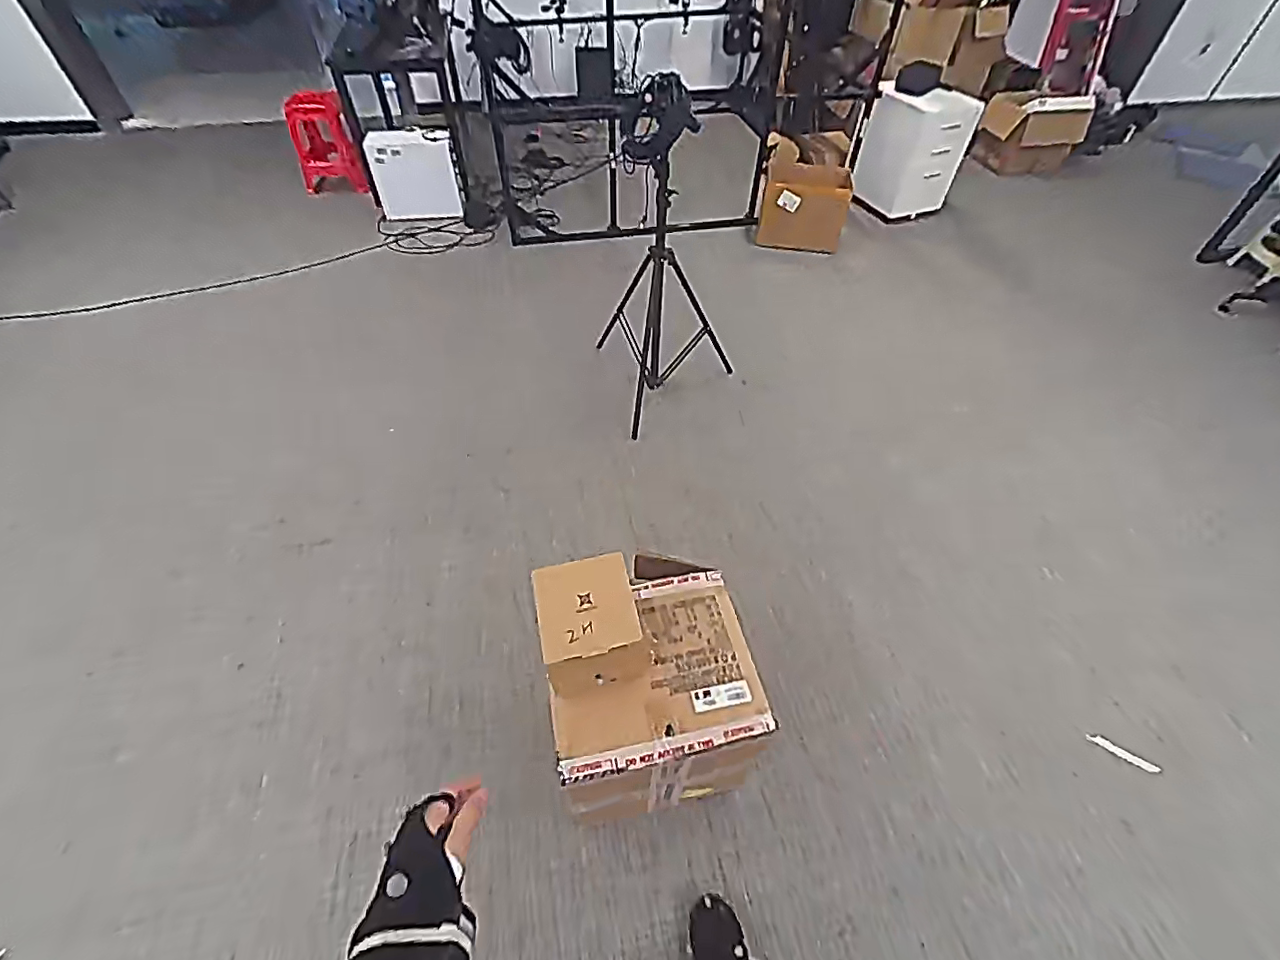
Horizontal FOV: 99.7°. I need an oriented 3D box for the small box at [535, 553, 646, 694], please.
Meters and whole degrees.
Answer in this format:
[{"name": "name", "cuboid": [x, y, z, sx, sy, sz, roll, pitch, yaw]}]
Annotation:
[{"name": "small box", "cuboid": [-0.089, 0.261, 0.980, 0.168, 0.176, 0.179, -12, 53, -8]}]
